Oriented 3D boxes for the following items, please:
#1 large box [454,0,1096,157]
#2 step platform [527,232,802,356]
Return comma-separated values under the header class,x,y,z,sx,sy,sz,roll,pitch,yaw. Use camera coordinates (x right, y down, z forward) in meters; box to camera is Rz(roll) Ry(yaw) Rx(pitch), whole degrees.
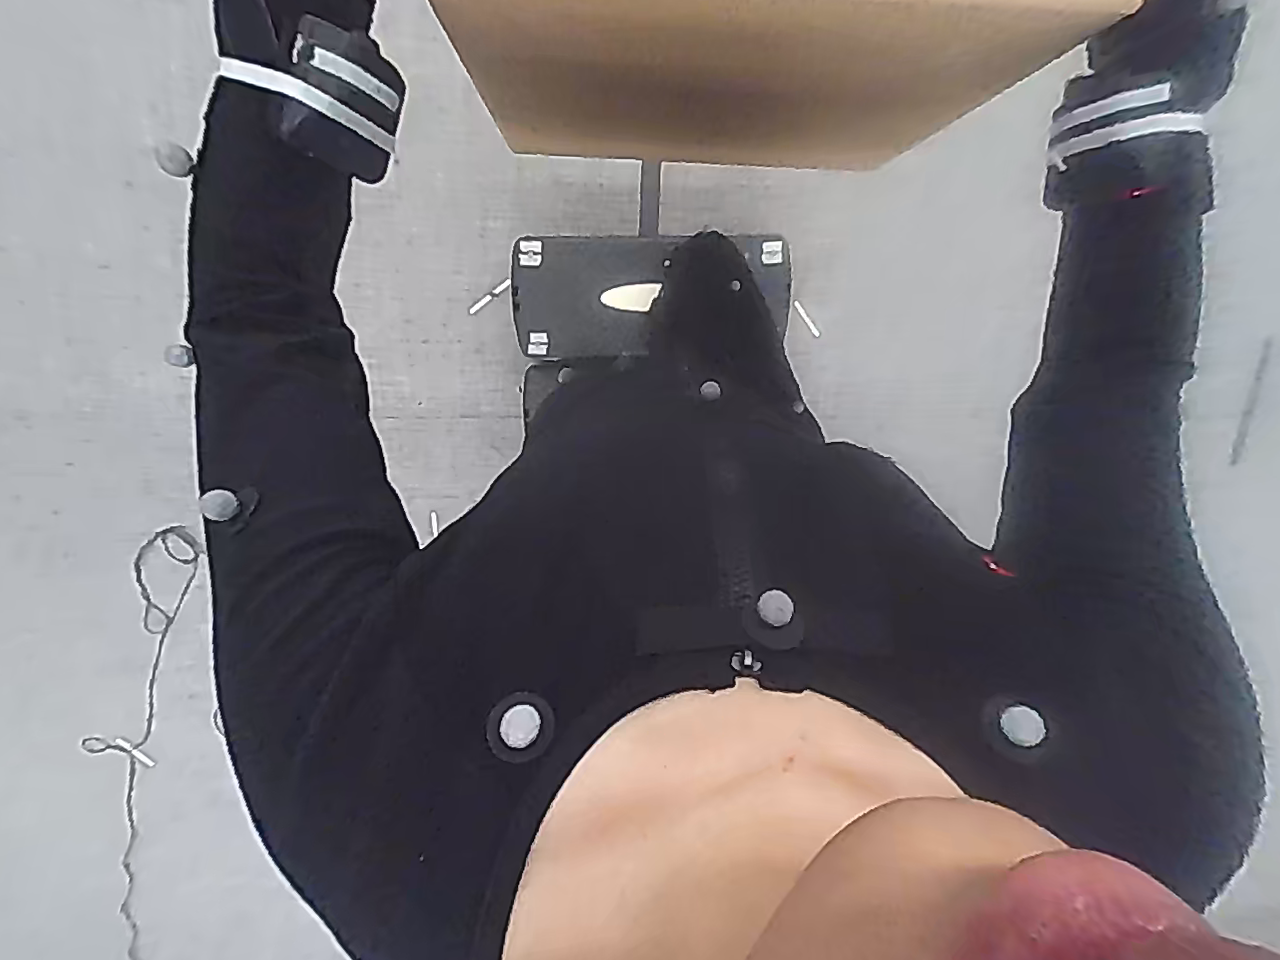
class,x,y,z,sx,sy,sz,roll,pitch,yaw
large box,0.073,-0.467,0.411,0.408,0.320,0.320,0,106,-4
step platform,0.058,-0.467,1.374,0.684,0.204,0.286,-2,106,-4
